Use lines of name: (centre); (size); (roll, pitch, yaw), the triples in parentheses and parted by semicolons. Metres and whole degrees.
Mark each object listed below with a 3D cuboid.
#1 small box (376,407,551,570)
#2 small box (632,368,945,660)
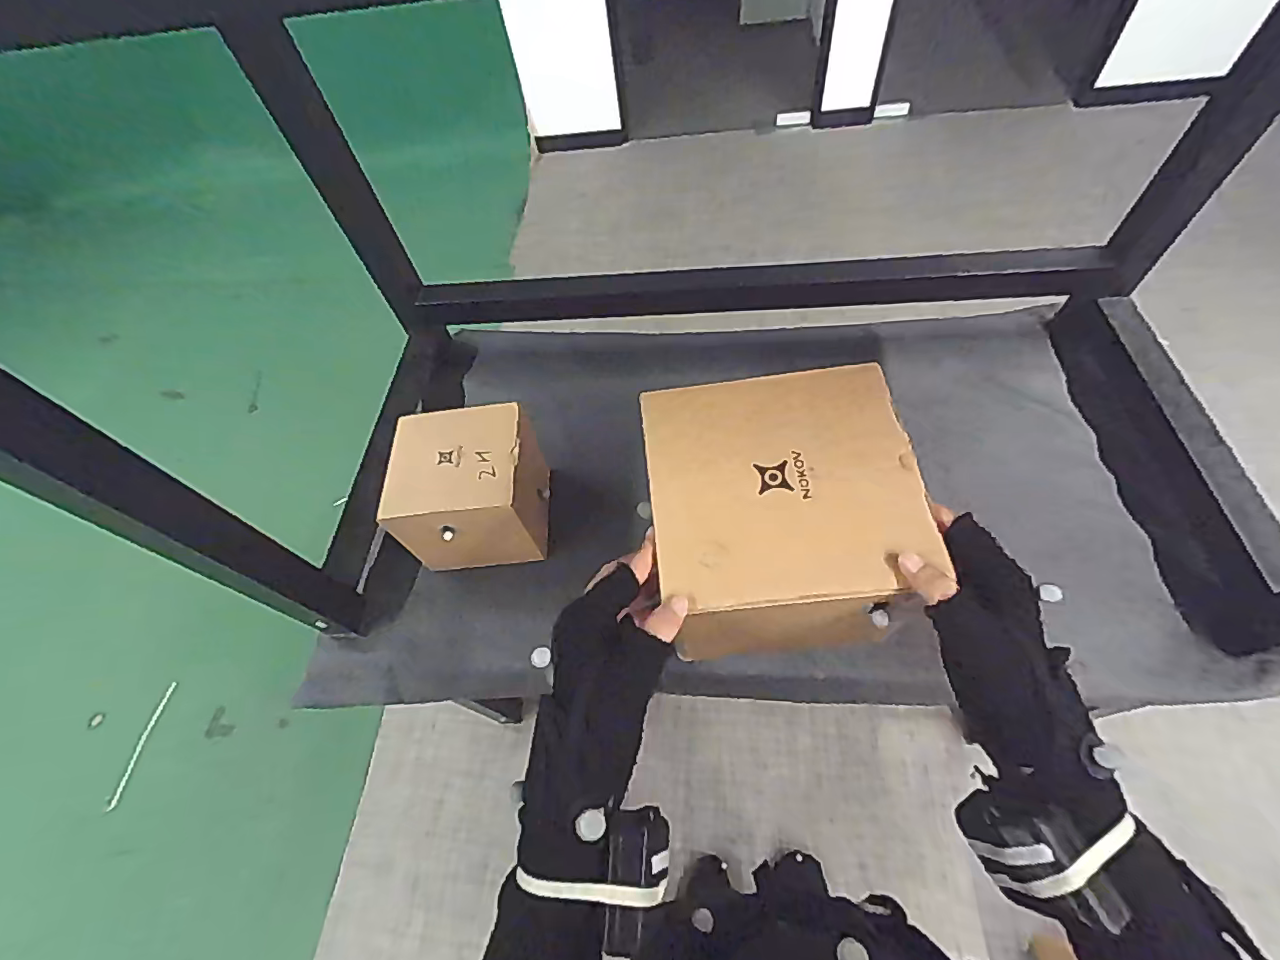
small box: (-0.236, 0.019, 0.771); (0.179, 0.176, 0.168); (-5, 58, 3)
small box: (0.096, 0.039, 0.423); (0.179, 0.176, 0.168); (-7, 63, 4)
